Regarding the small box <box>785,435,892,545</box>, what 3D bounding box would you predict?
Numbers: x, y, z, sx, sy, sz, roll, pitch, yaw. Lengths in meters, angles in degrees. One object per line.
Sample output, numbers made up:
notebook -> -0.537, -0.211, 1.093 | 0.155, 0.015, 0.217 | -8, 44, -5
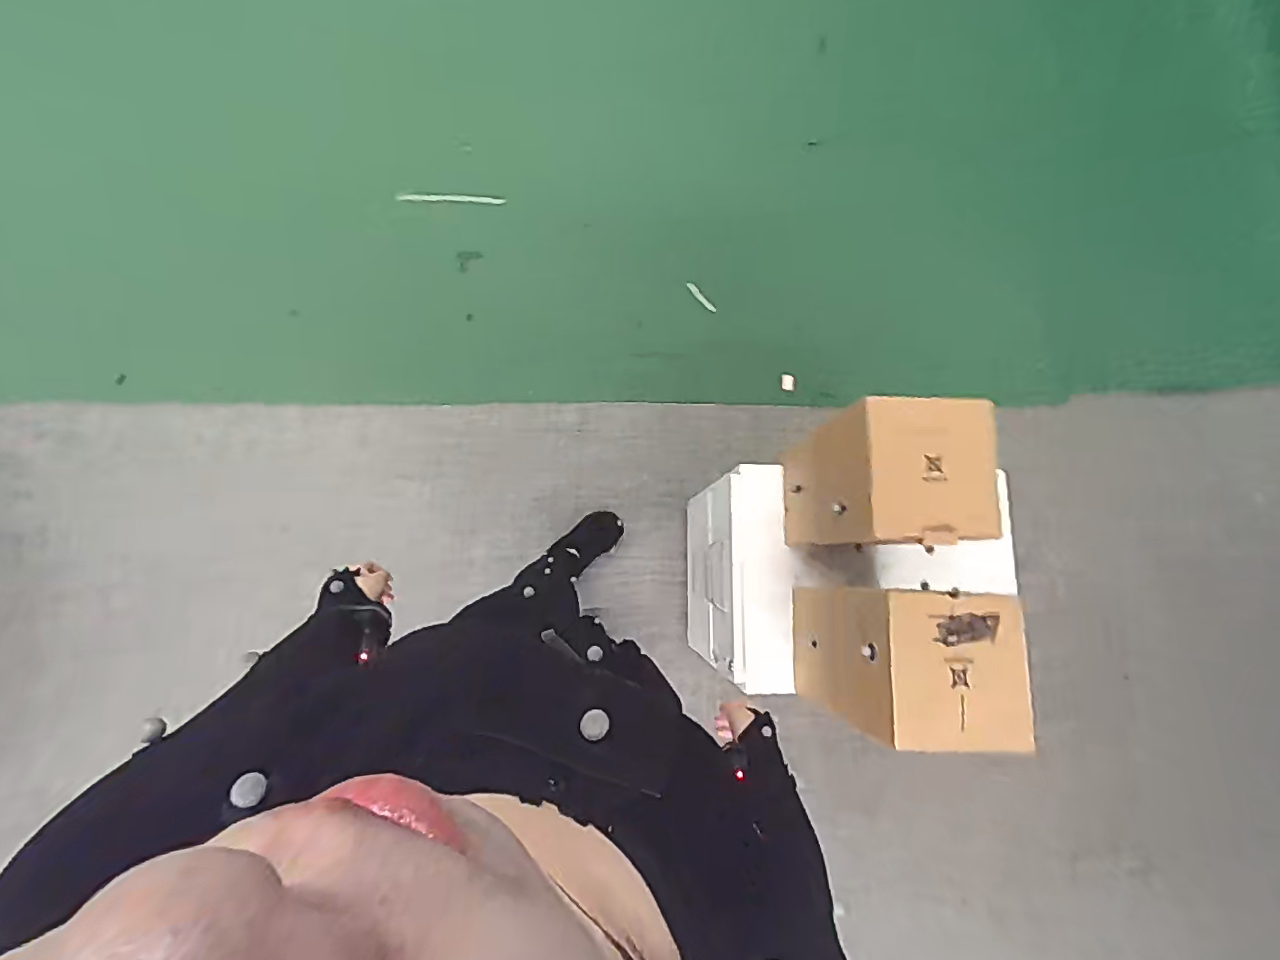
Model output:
small box -> 0.348, 0.021, 0.894 | 0.179, 0.176, 0.168 | 2, 83, -5

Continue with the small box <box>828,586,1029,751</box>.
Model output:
small box -> 0.353, 0.229, 0.695 | 0.168, 0.176, 0.179 | 4, 80, -5

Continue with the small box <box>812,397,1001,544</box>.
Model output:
small box -> 0.346, -0.003, 0.733 | 0.168, 0.176, 0.179 | 1, 81, -6
